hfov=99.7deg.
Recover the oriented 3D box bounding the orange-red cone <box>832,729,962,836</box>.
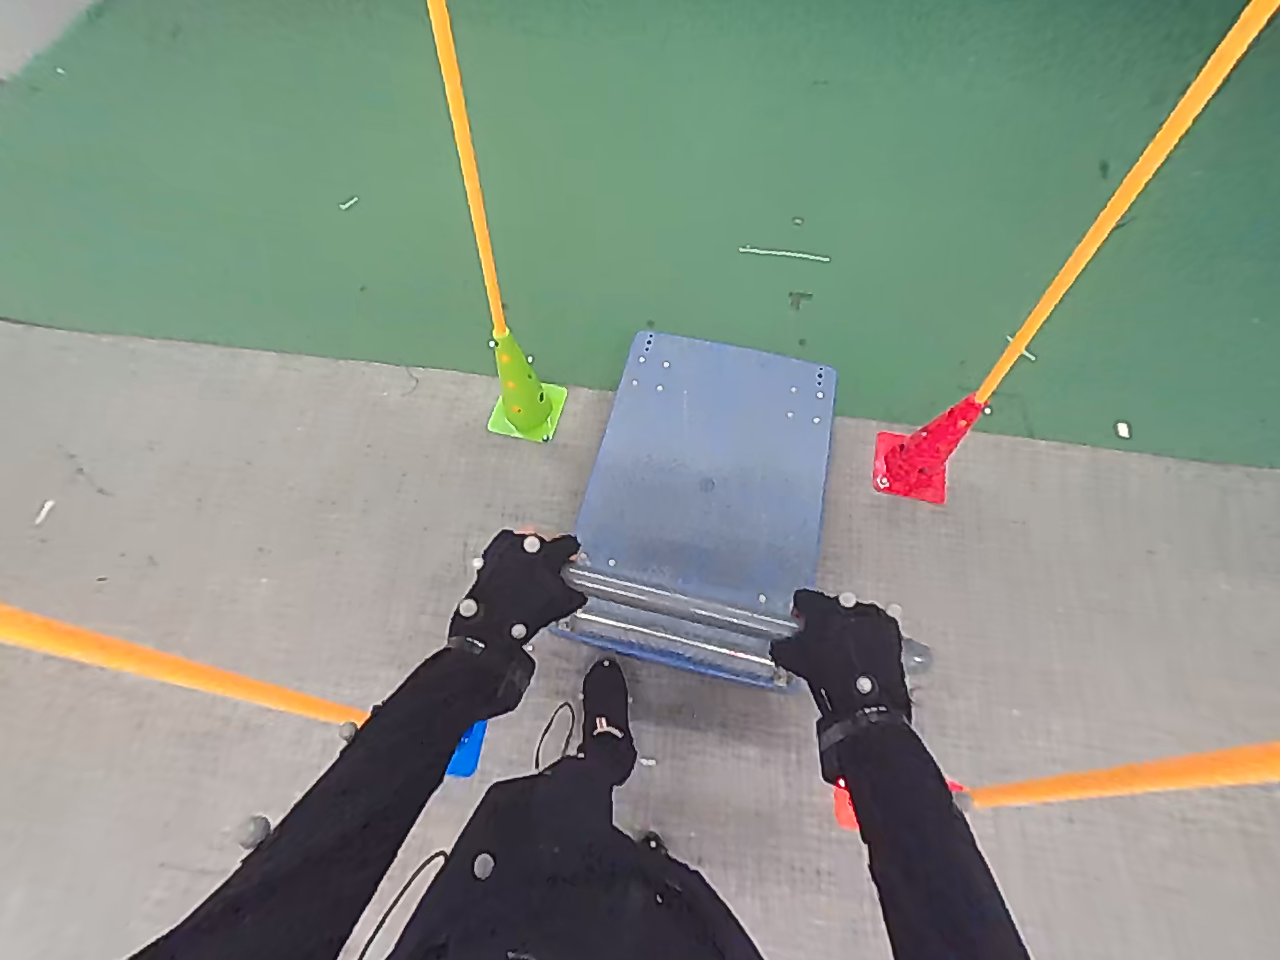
[{"bbox_3d":[0.533,0.613,1.079,0.199,0.360,0.198,6,65,5],"label":"orange-red cone"}]

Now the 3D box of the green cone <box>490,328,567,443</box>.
[{"bbox_3d":[-0.339,-0.286,1.493,0.202,0.368,0.200,11,65,6],"label":"green cone"}]
